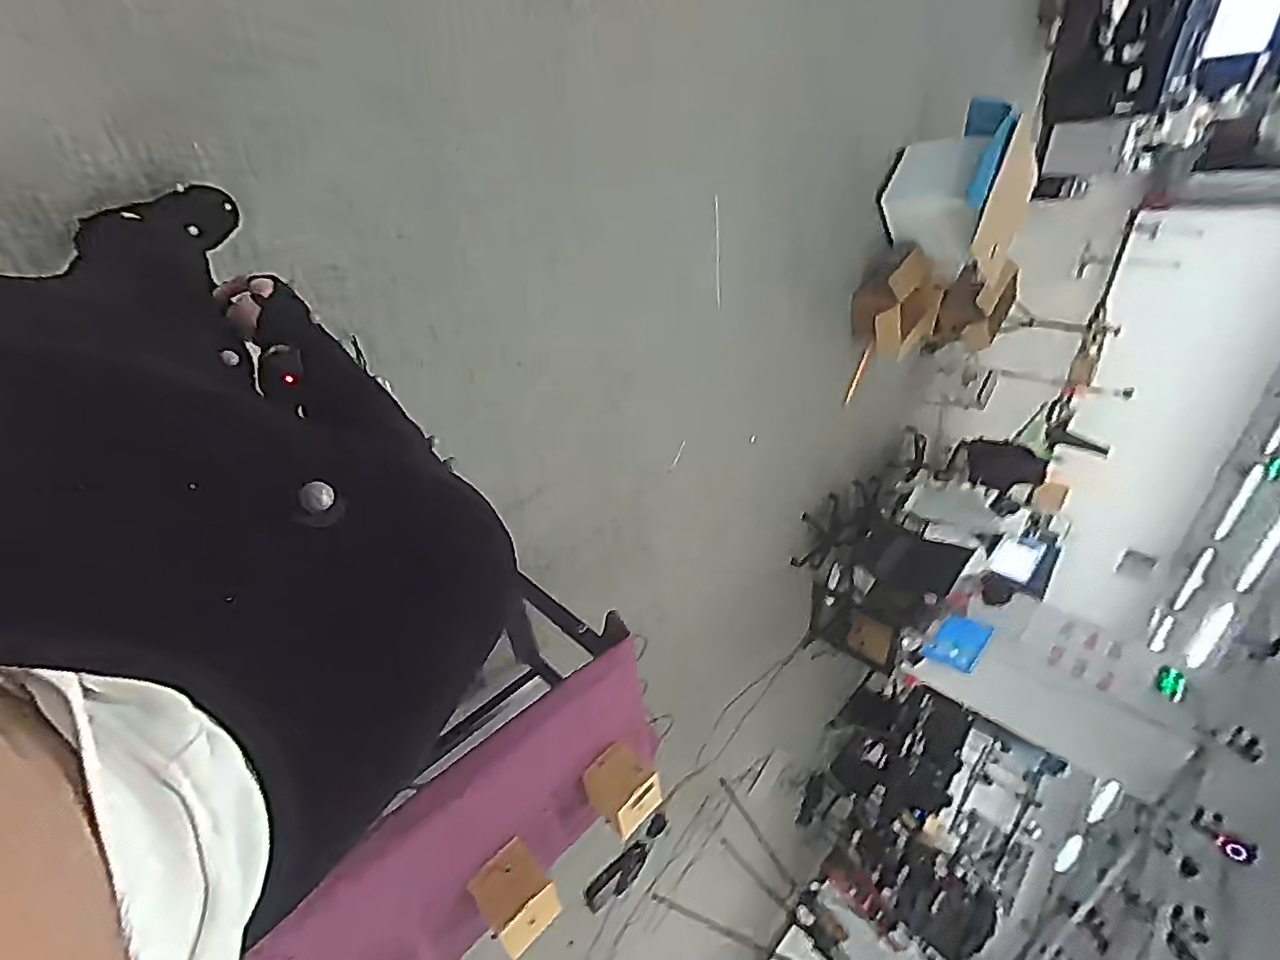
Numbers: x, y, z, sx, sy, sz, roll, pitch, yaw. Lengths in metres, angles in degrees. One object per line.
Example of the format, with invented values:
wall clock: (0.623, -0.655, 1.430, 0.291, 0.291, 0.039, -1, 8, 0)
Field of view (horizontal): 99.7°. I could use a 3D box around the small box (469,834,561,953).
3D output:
small box: (-0.342, 1.127, 1.486, 0.168, 0.176, 0.179, -31, 129, -34)
